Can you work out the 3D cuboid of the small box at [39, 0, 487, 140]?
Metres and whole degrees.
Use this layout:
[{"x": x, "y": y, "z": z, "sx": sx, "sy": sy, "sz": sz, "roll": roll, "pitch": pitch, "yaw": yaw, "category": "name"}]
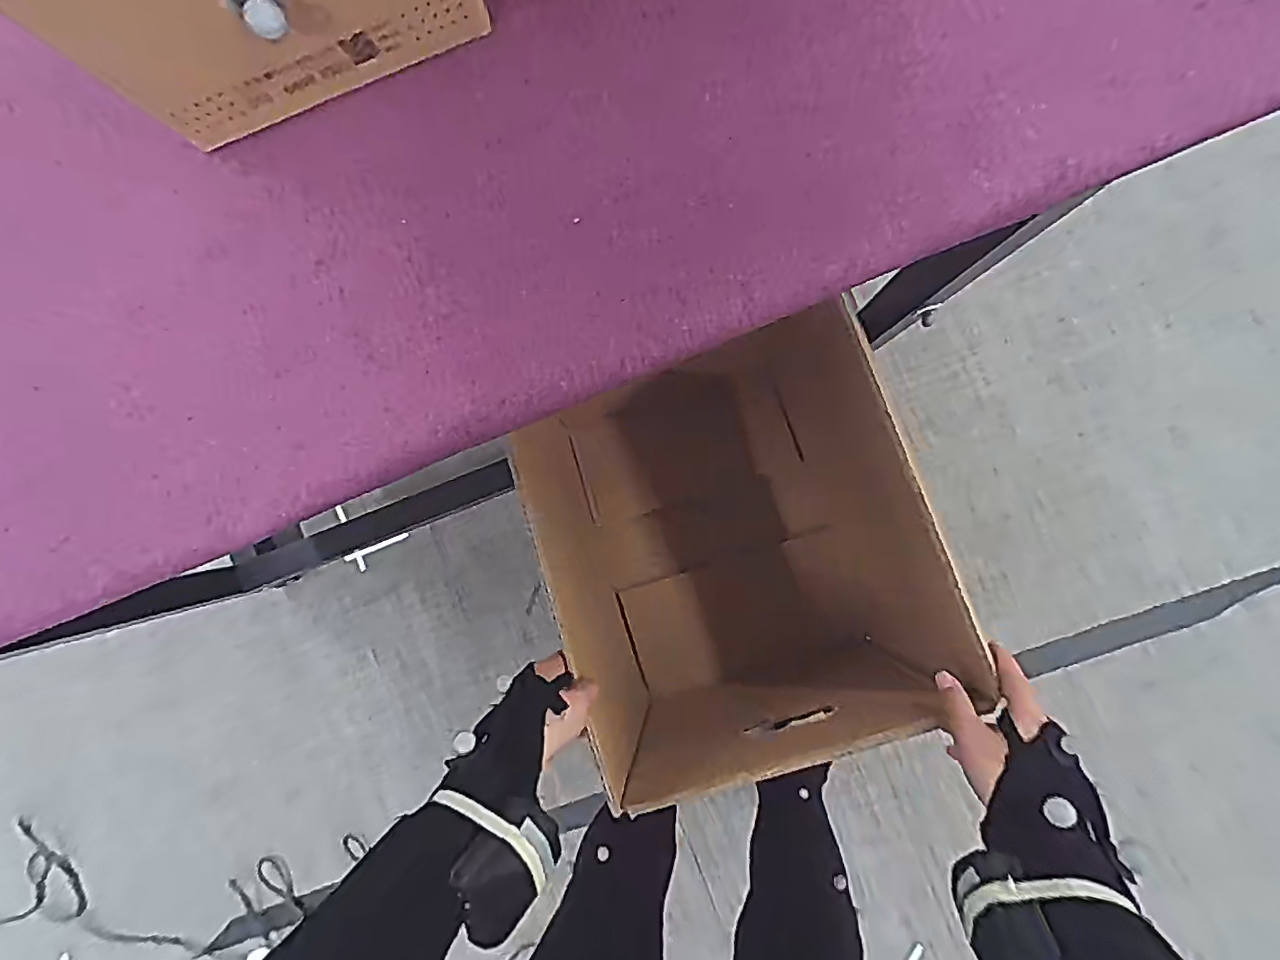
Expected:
[{"x": -0.182, "y": -0.280, "z": 0.201, "sx": 0.168, "sy": 0.176, "sz": 0.179, "roll": -19, "pitch": 88, "yaw": 5, "category": "small box"}]
